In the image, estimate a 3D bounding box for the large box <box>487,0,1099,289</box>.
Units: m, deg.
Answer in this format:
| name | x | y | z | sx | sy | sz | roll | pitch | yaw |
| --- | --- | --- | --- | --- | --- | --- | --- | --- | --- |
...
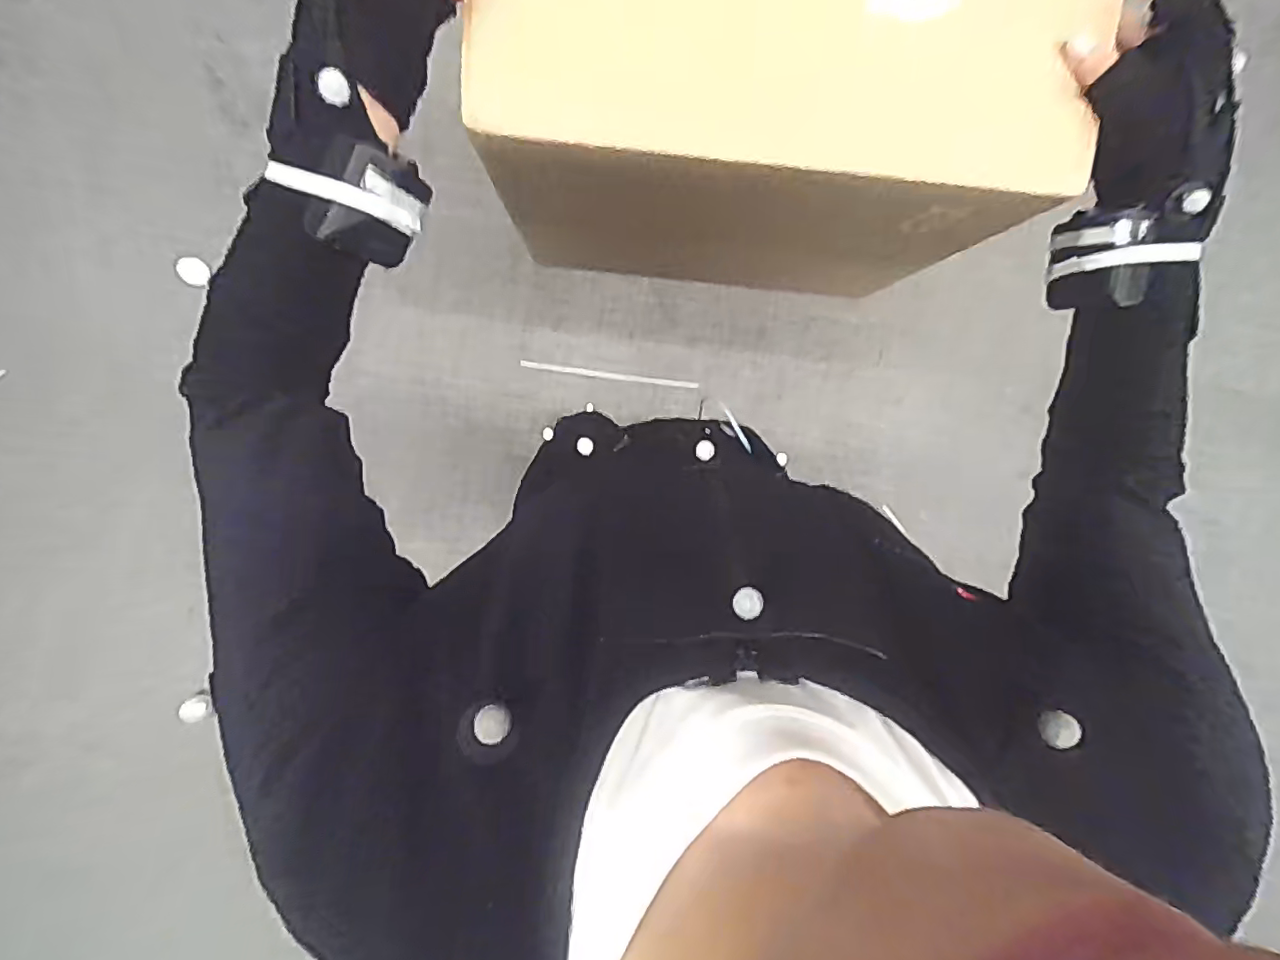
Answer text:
| name | x | y | z | sx | sy | sz | roll | pitch | yaw |
| --- | --- | --- | --- | --- | --- | --- | --- | --- | --- |
| large box | 0.095 | -0.378 | 0.488 | 0.408 | 0.320 | 0.320 | 4 | 97 | -5 |
